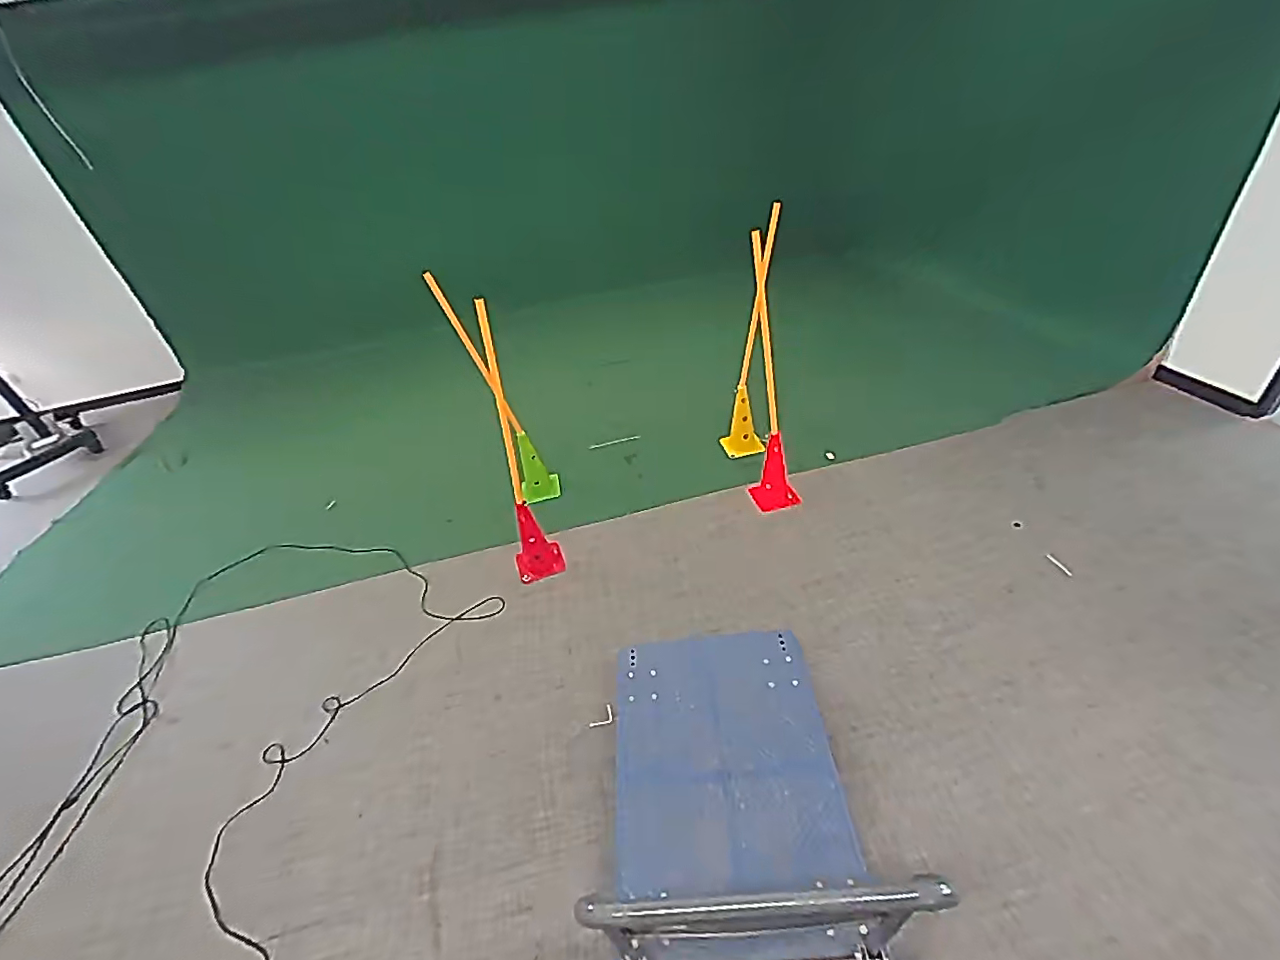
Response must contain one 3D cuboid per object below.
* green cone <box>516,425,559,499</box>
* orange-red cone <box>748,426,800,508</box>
[{"bbox_3d":[-0.551,-0.111,2.722,0.200,0.368,0.202,-14,36,-4],"label":"green cone"},{"bbox_3d":[0.602,-0.080,2.429,0.198,0.360,0.199,-13,35,-5],"label":"orange-red cone"}]
